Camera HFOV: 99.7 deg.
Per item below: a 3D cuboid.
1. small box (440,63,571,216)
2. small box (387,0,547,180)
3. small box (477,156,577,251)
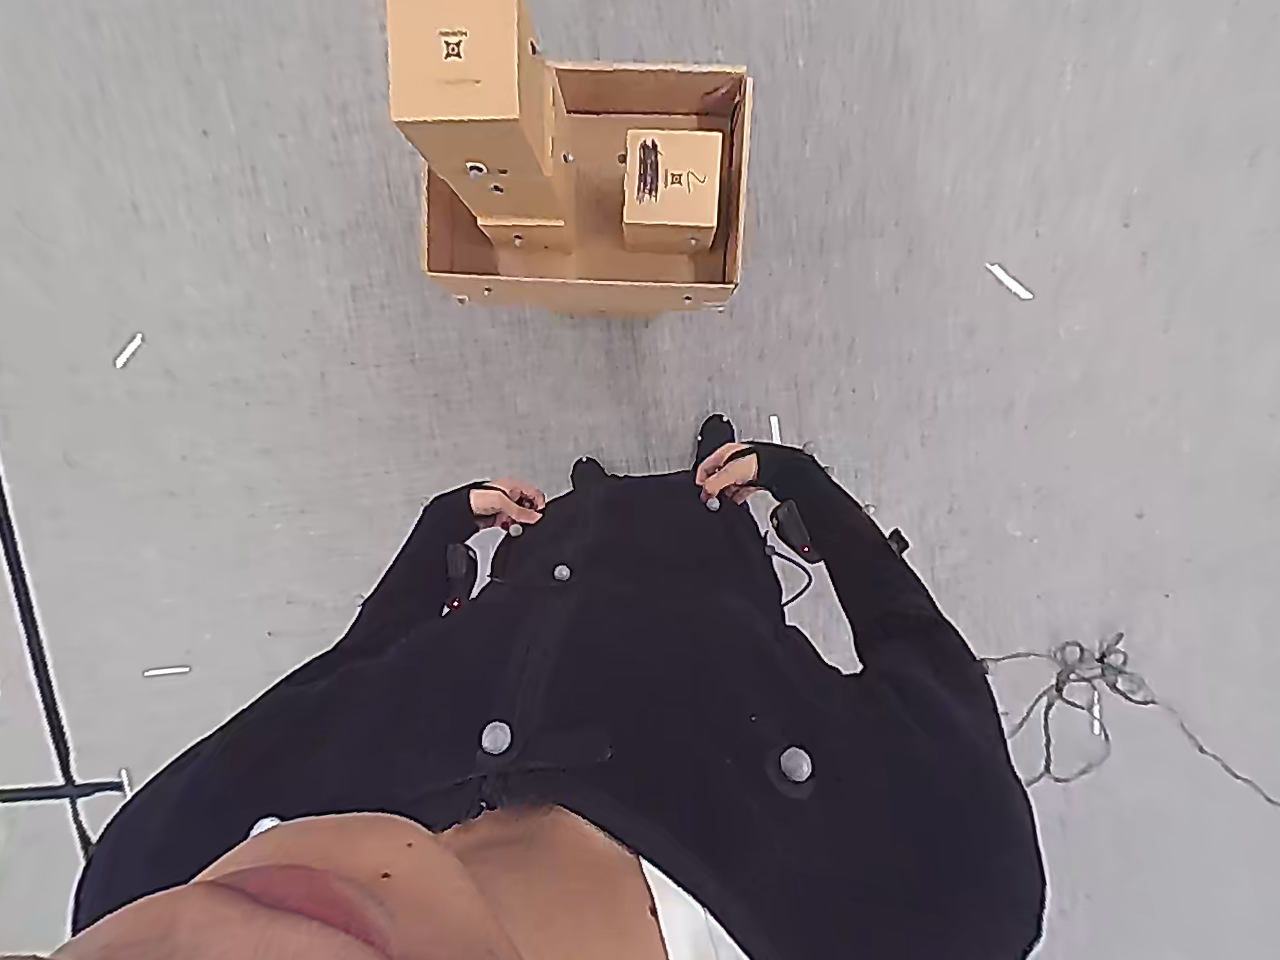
[{"bbox_3d":[-0.217,-0.557,0.903,0.179,0.176,0.168,3,96,1],"label":"small box"},{"bbox_3d":[-0.226,-0.541,0.740,0.168,0.176,0.179,1,95,2],"label":"small box"},{"bbox_3d":[-0.217,-0.566,1.067,0.168,0.176,0.179,1,95,1],"label":"small box"}]
